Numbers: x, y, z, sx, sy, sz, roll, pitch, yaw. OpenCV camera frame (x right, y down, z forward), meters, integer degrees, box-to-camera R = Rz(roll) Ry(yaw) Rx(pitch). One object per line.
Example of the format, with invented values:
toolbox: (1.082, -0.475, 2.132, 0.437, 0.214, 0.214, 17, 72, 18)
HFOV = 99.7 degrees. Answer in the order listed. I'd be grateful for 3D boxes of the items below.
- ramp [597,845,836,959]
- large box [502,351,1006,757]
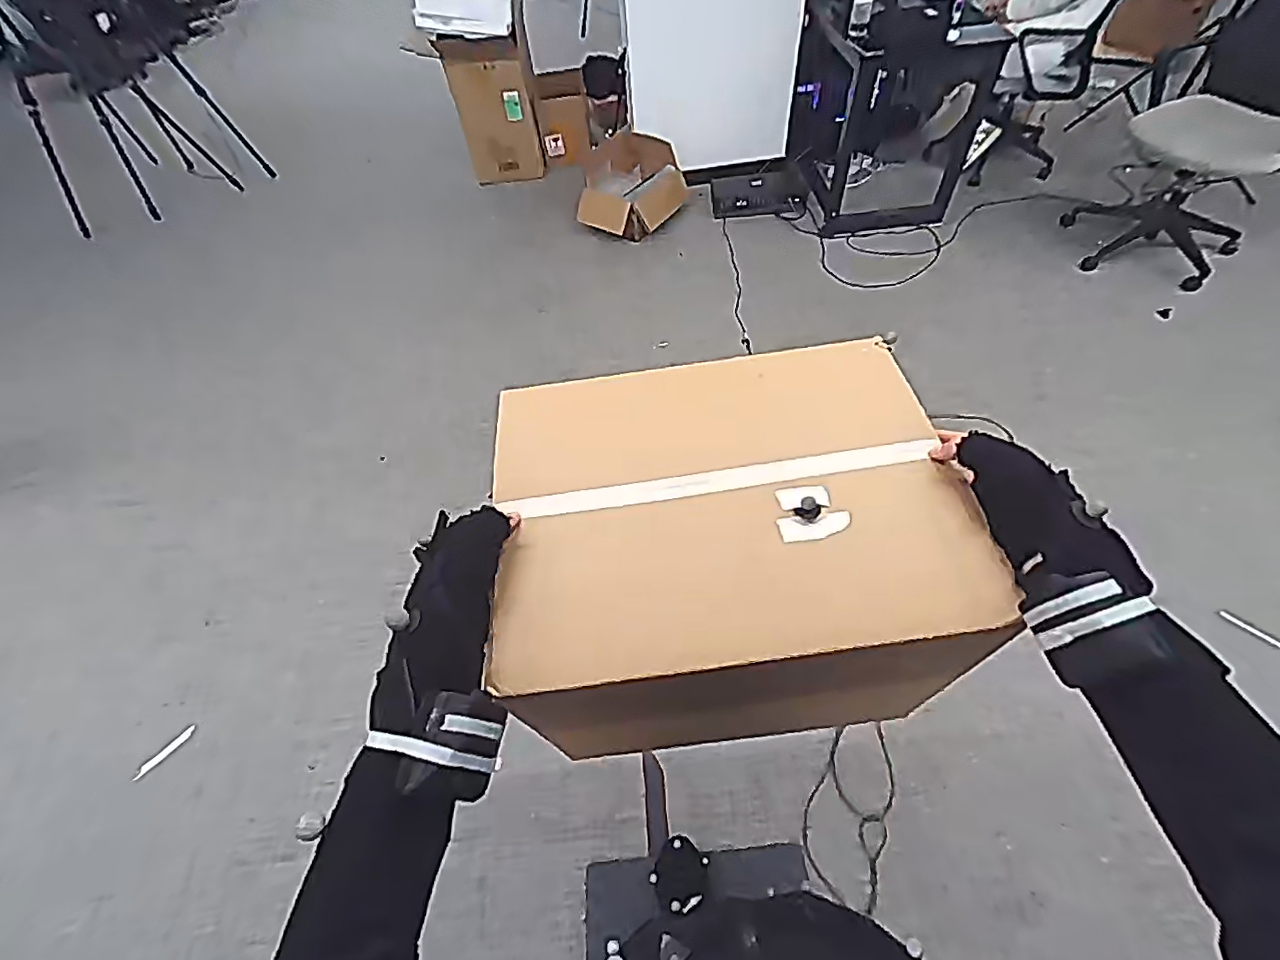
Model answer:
ramp: (0.175, 1.203, 0.877, 0.509, 0.206, 0.991, -9, 53, 1)
large box: (0.082, 0.098, 0.620, 0.408, 0.320, 0.320, -9, 55, 1)
